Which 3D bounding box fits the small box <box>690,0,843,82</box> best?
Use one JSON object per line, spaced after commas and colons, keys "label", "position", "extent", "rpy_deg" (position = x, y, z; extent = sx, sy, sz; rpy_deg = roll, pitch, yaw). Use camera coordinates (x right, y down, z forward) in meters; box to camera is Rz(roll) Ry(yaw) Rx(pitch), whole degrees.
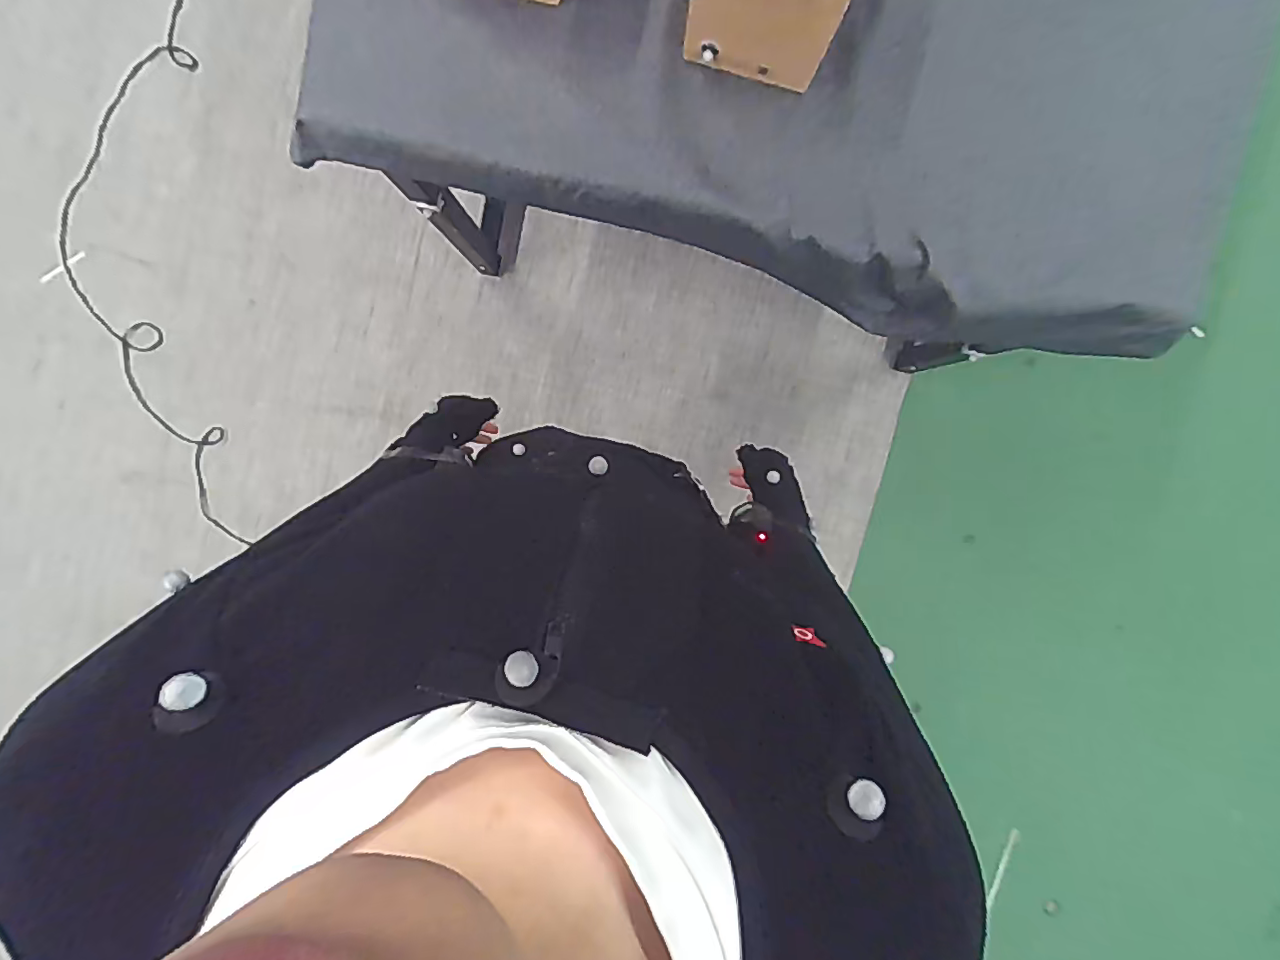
{"label": "small box", "position": [0.157, -0.599, 0.606], "extent": [0.168, 0.176, 0.179], "rpy_deg": [15, 94, -1]}
